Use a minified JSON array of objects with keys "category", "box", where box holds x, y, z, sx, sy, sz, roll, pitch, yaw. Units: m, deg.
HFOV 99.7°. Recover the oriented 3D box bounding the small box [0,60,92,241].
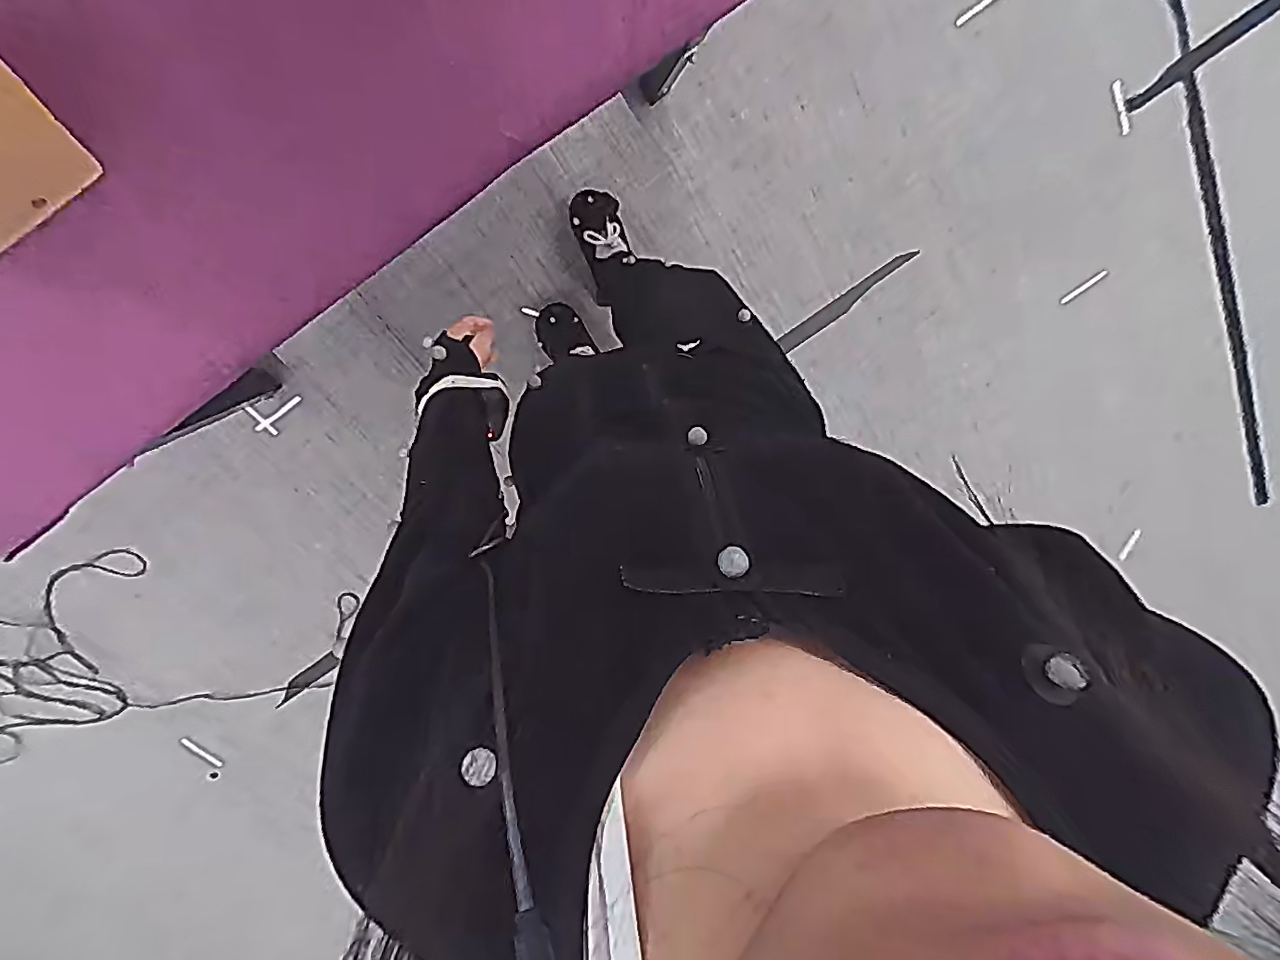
[{"category":"small box","box":[-0.630,-0.299,0.436,0.168,0.176,0.179,-34,112,3]}]
